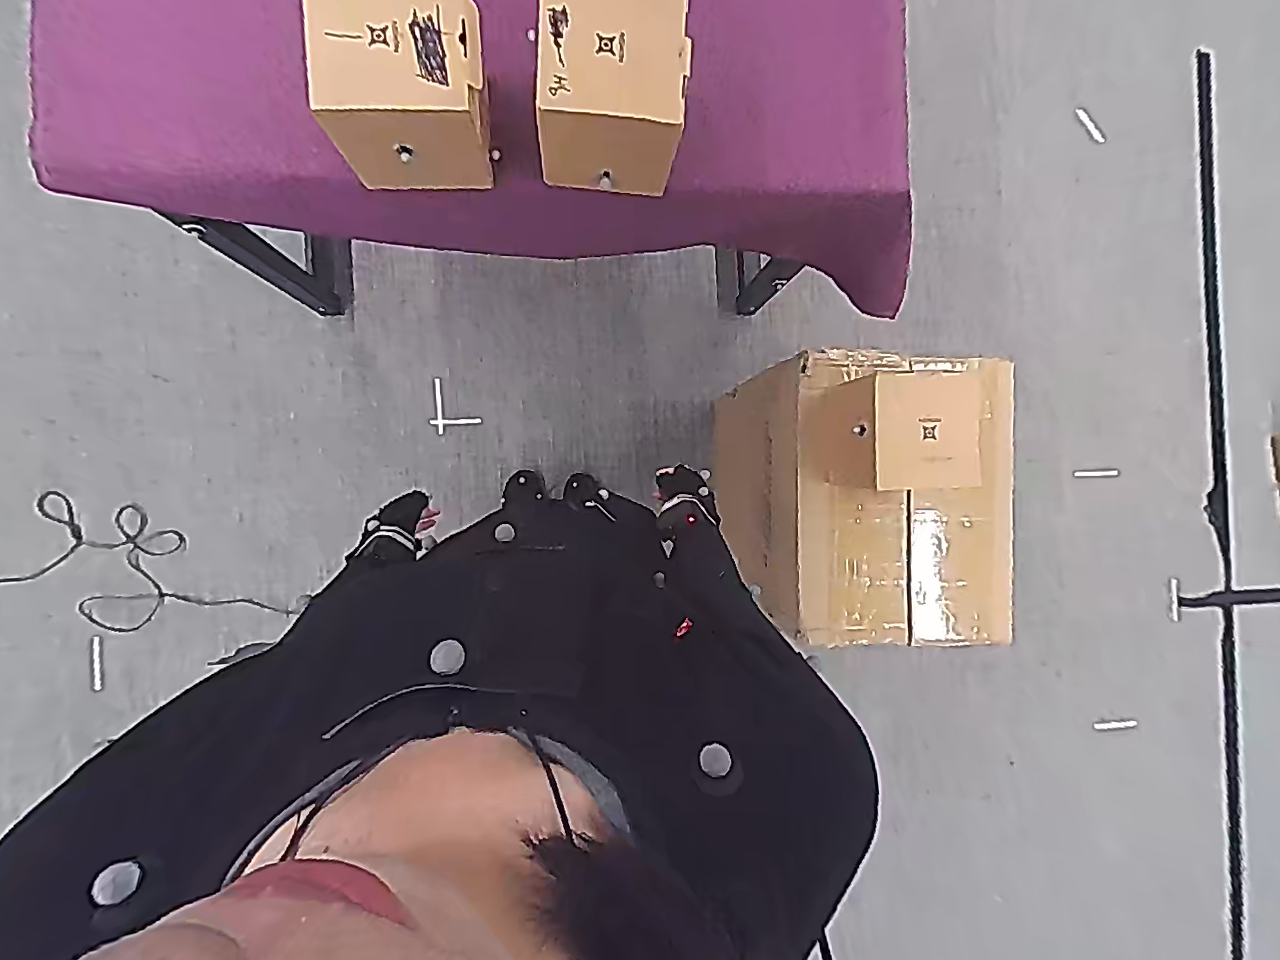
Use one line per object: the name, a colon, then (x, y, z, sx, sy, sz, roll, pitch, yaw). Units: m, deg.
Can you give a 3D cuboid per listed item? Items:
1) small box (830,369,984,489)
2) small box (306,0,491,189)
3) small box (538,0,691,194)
small box: (0.418, -0.076, 0.871, 0.168, 0.176, 0.179, -2, 92, -4)
small box: (-0.289, -0.493, 0.684, 0.179, 0.176, 0.168, -3, 90, -6)
small box: (-0.039, -0.506, 0.714, 0.179, 0.176, 0.168, 2, 89, -7)
